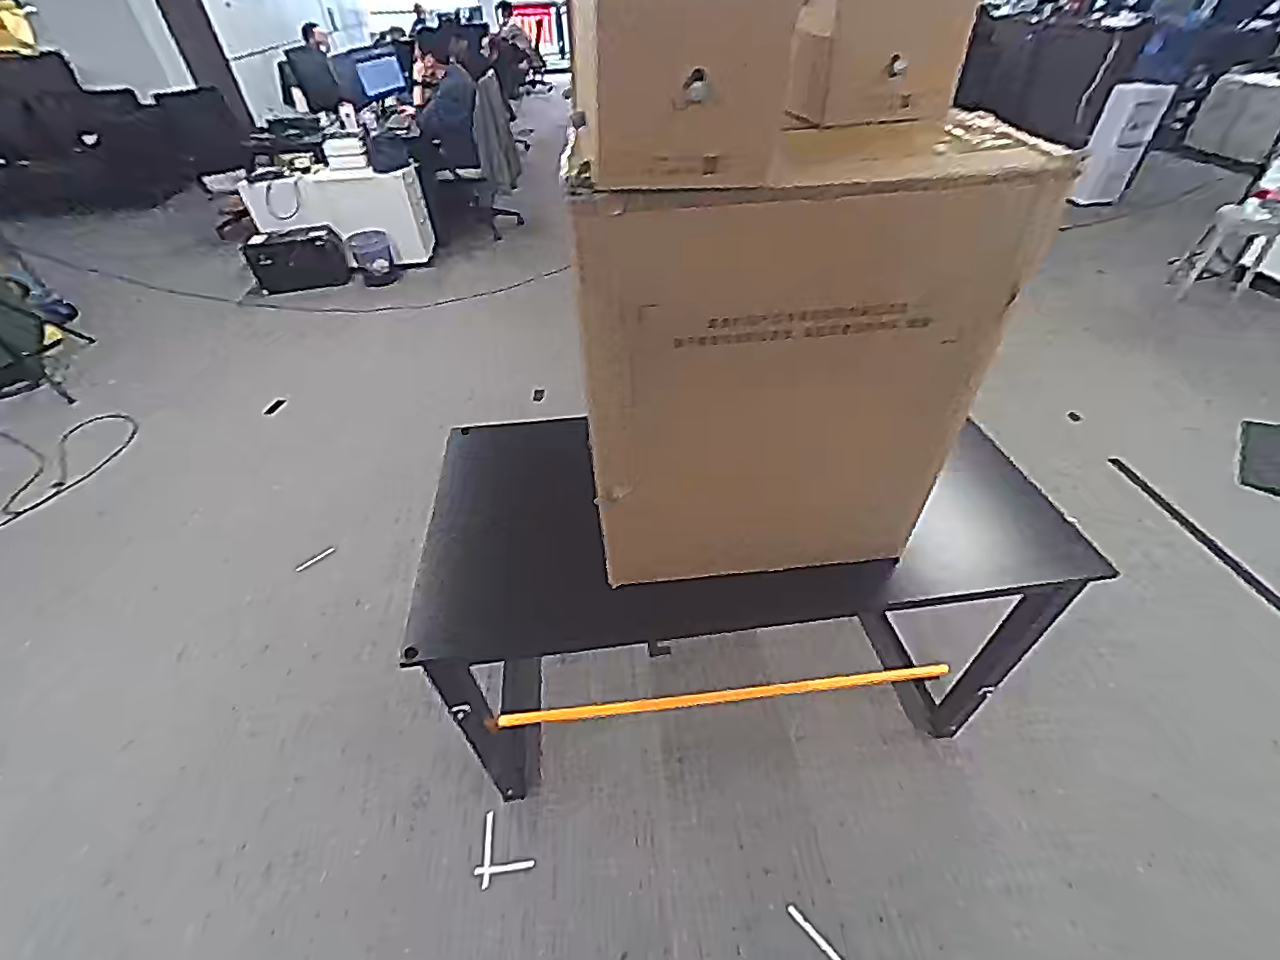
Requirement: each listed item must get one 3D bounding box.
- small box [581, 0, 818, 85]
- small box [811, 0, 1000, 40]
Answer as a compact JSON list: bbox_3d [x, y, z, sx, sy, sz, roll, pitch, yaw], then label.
[{"bbox_3d":[0.042,-0.425,0.421,0.168,0.176,0.179,-6,46,-9],"label":"small box"},{"bbox_3d":[0.294,-0.598,0.597,0.168,0.176,0.179,-7,42,-4],"label":"small box"}]
